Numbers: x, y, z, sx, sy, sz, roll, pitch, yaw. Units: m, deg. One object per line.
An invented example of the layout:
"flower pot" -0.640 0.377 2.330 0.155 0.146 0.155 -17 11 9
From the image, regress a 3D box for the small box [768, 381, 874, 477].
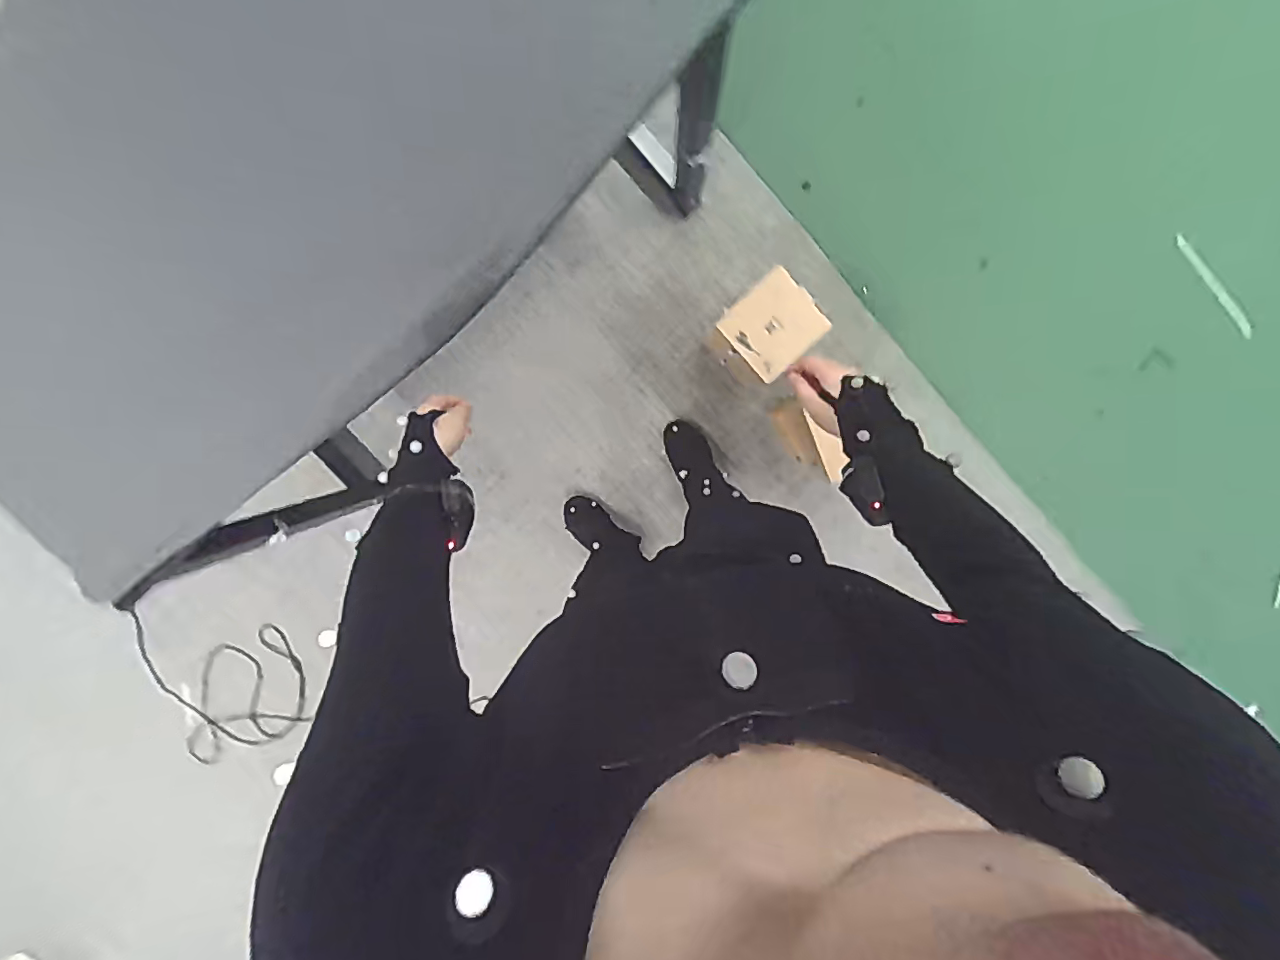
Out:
"small box" 0.441 -0.131 1.341 0.168 0.176 0.179 -32 96 7

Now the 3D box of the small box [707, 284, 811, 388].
"small box" 0.282 -0.342 1.318 0.168 0.176 0.179 -43 93 8
